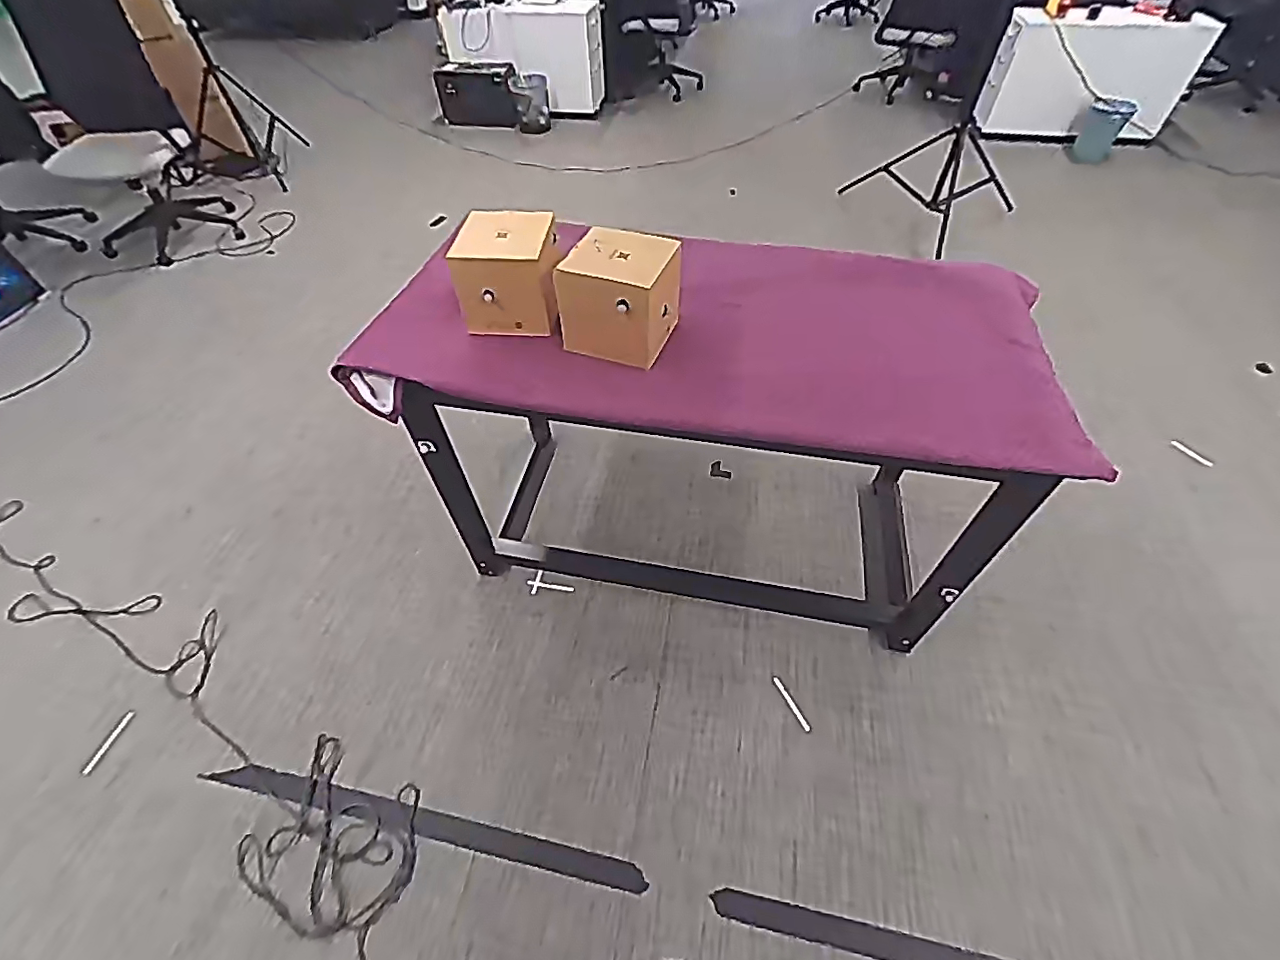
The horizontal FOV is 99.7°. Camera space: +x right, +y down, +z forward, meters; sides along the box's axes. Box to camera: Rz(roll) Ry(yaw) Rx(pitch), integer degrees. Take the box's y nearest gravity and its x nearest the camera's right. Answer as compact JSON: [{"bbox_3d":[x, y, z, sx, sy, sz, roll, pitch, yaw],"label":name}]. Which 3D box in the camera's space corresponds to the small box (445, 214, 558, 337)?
[{"bbox_3d":[-0.255,-0.396,1.057,0.168,0.176,0.179,1,51,3],"label":"small box"}]

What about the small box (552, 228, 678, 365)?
[{"bbox_3d":[-0.038,-0.335,0.999,0.179,0.176,0.168,15,52,14],"label":"small box"}]
